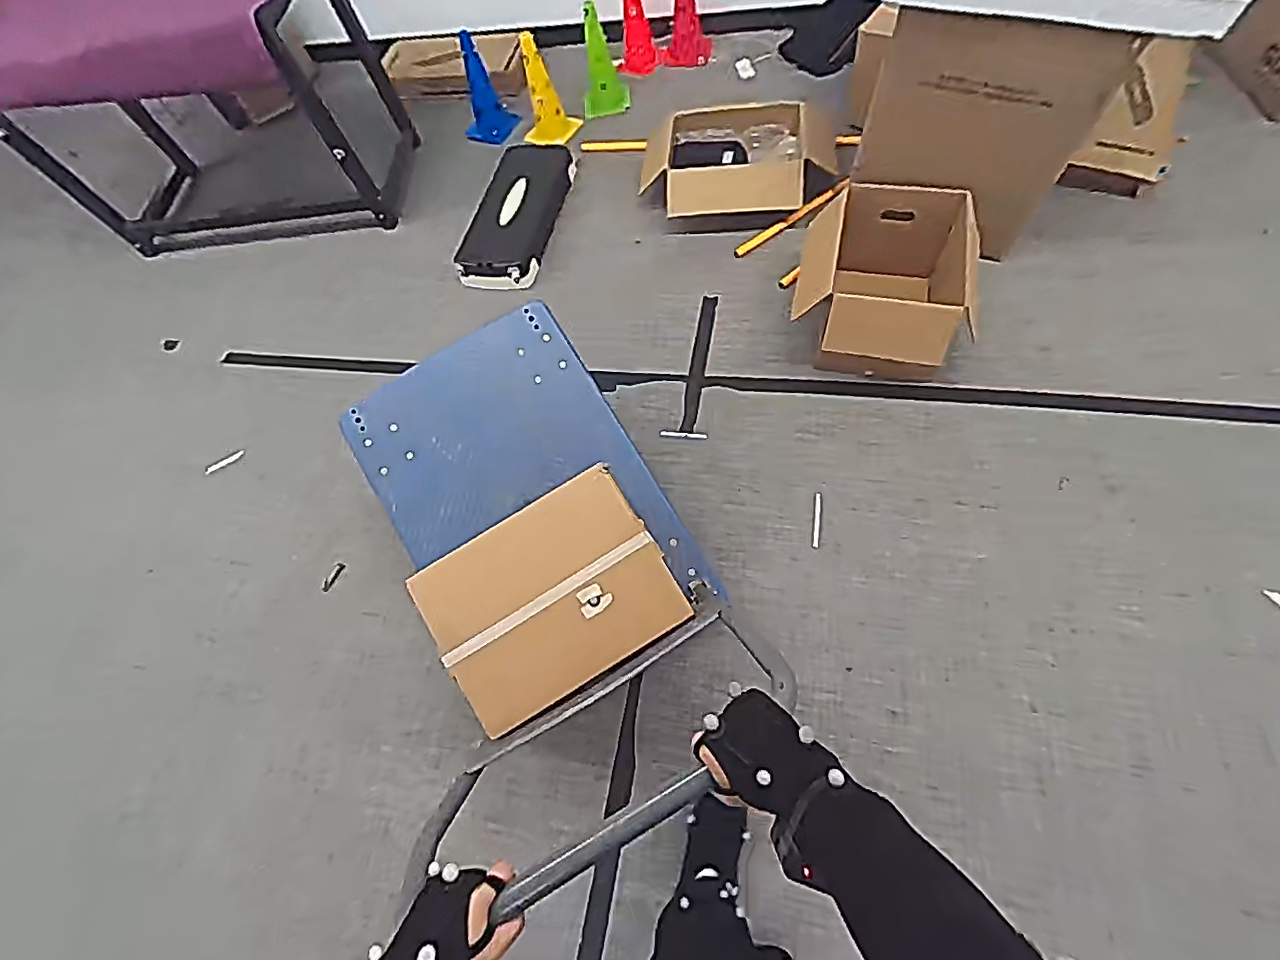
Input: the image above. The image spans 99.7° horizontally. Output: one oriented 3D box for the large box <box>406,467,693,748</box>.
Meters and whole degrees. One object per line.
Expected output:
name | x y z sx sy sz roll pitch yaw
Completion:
large box | -0.155 0.231 1.061 0.408 0.320 0.320 -32 83 -5
